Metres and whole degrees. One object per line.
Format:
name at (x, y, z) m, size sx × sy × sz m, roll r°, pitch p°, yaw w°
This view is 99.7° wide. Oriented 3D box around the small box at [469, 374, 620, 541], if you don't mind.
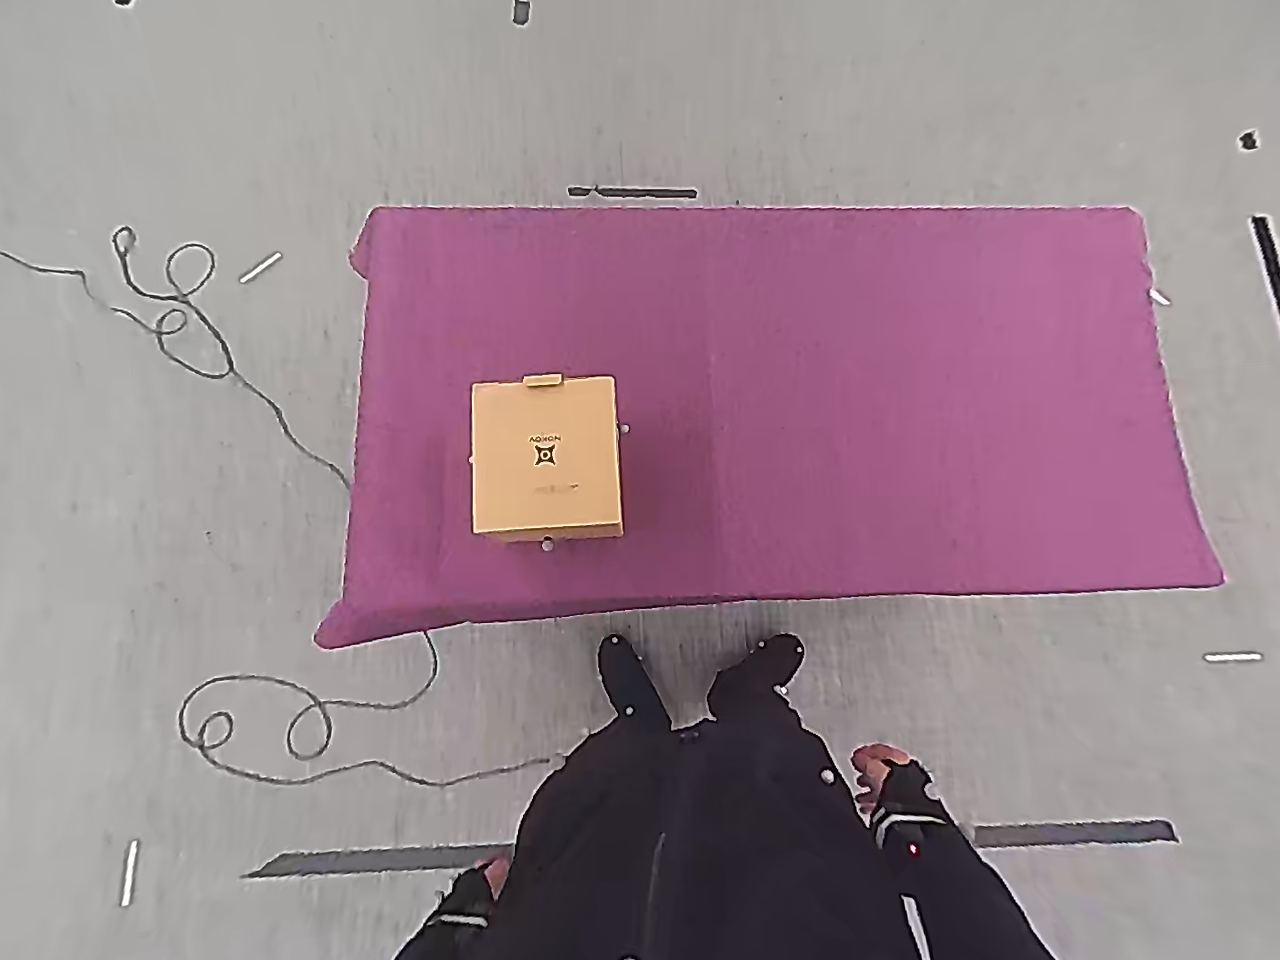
small box at (-0.109, -0.020, 0.682) m, size 0.168 × 0.176 × 0.179 m, roll -2°, pitch 80°, yaw -2°
